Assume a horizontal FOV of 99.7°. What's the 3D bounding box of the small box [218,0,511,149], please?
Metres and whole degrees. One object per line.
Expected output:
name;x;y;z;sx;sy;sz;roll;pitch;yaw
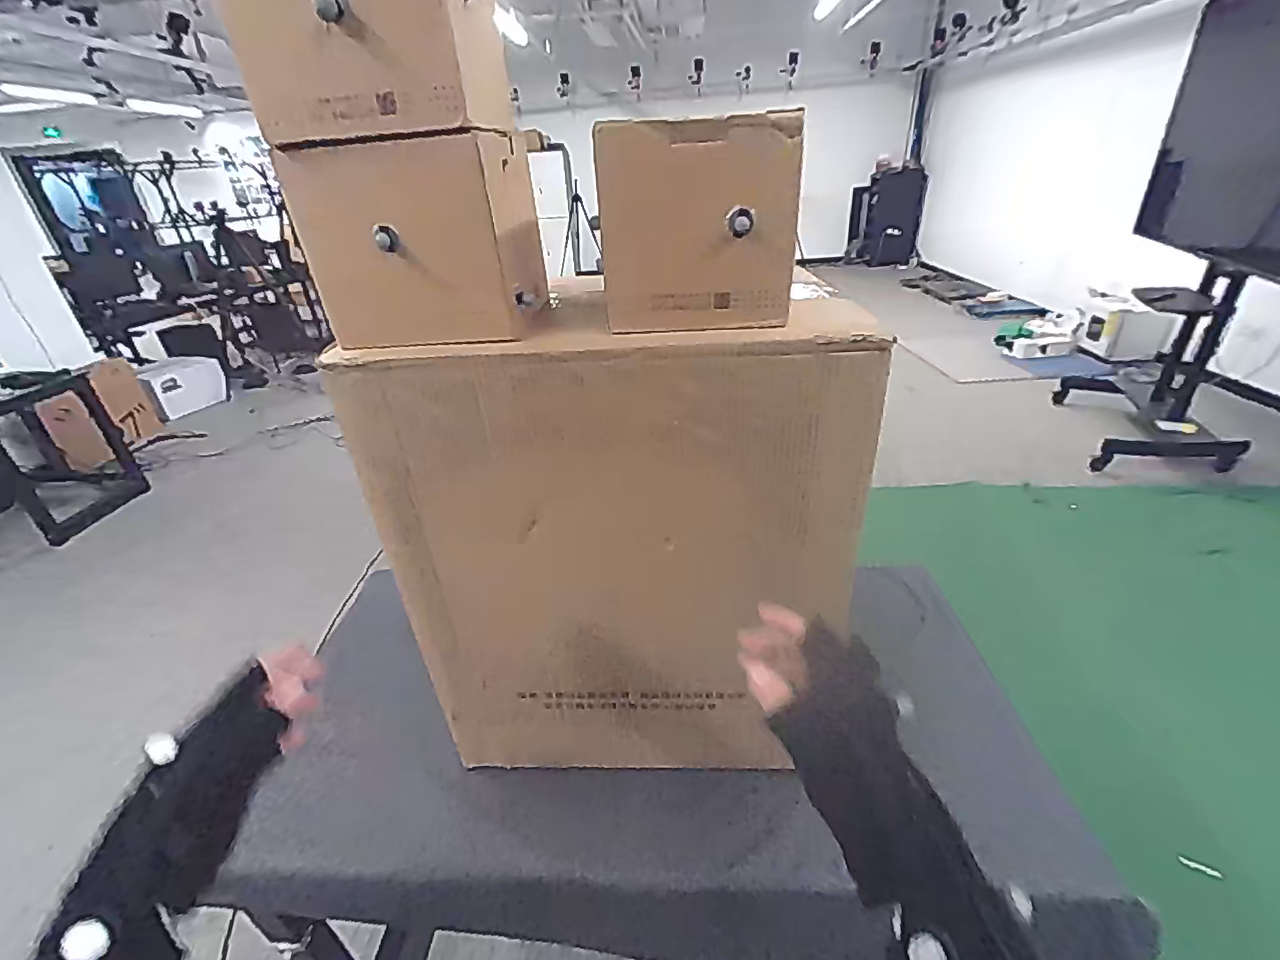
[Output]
small box;-0.215;-0.374;0.449;0.168;0.176;0.179;-3;33;2

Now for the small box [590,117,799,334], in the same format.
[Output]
small box;0.051;-0.245;0.527;0.168;0.176;0.179;0;31;4

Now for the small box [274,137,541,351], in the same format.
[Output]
small box;-0.201;-0.235;0.535;0.179;0.176;0.168;-2;33;1
